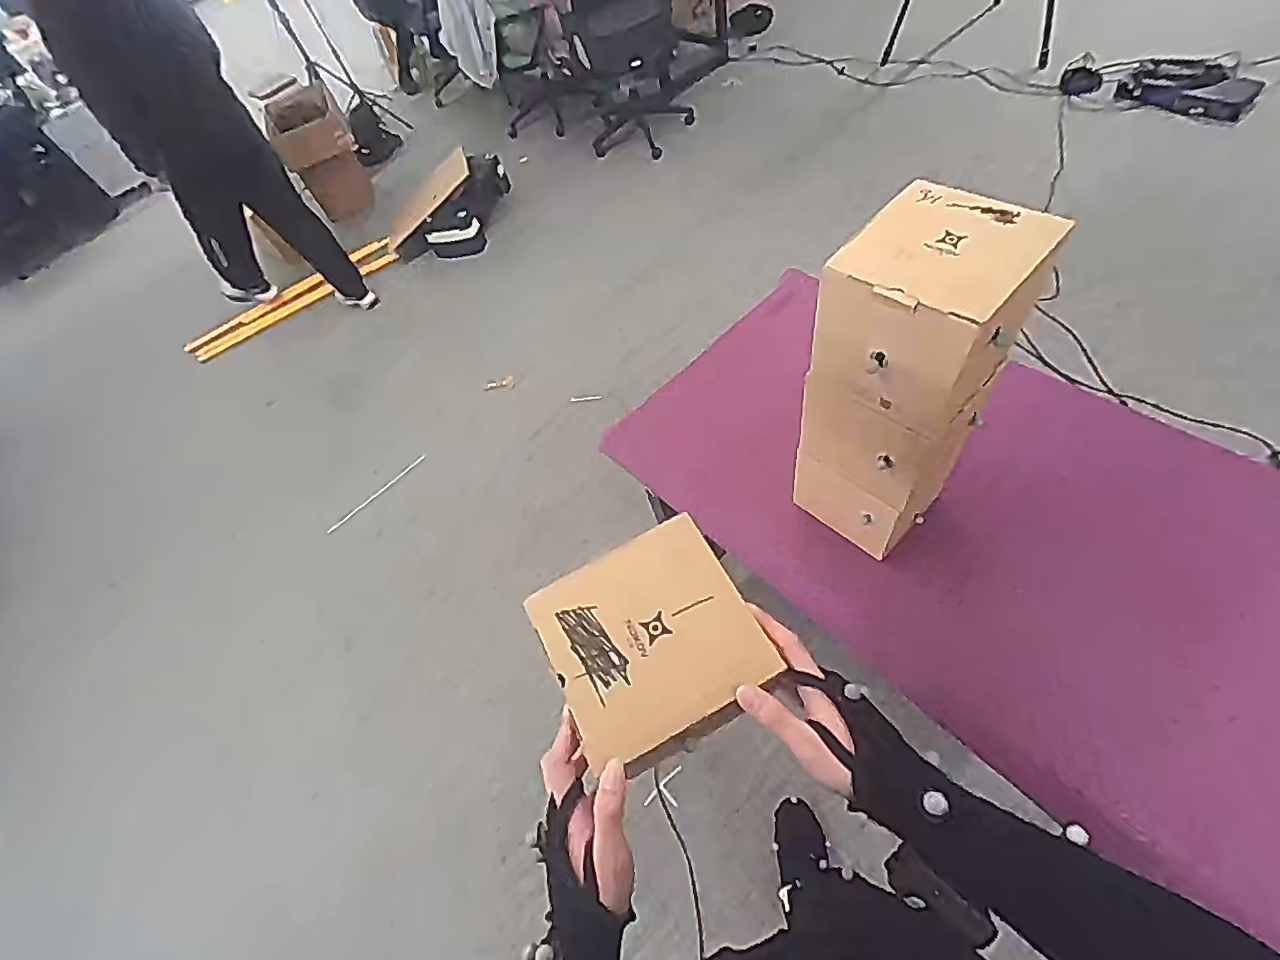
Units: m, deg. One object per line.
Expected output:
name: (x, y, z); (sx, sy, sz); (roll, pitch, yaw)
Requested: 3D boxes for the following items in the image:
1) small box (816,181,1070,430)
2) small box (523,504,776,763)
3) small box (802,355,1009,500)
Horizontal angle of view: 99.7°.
small box: (0.314, -0.188, 0.601); (0.179, 0.176, 0.168); (-43, 59, -15)
small box: (0.014, 0.159, 0.534); (0.179, 0.176, 0.168); (-27, 61, -7)
small box: (0.342, -0.097, 0.733); (0.168, 0.176, 0.179); (-42, 58, -14)
